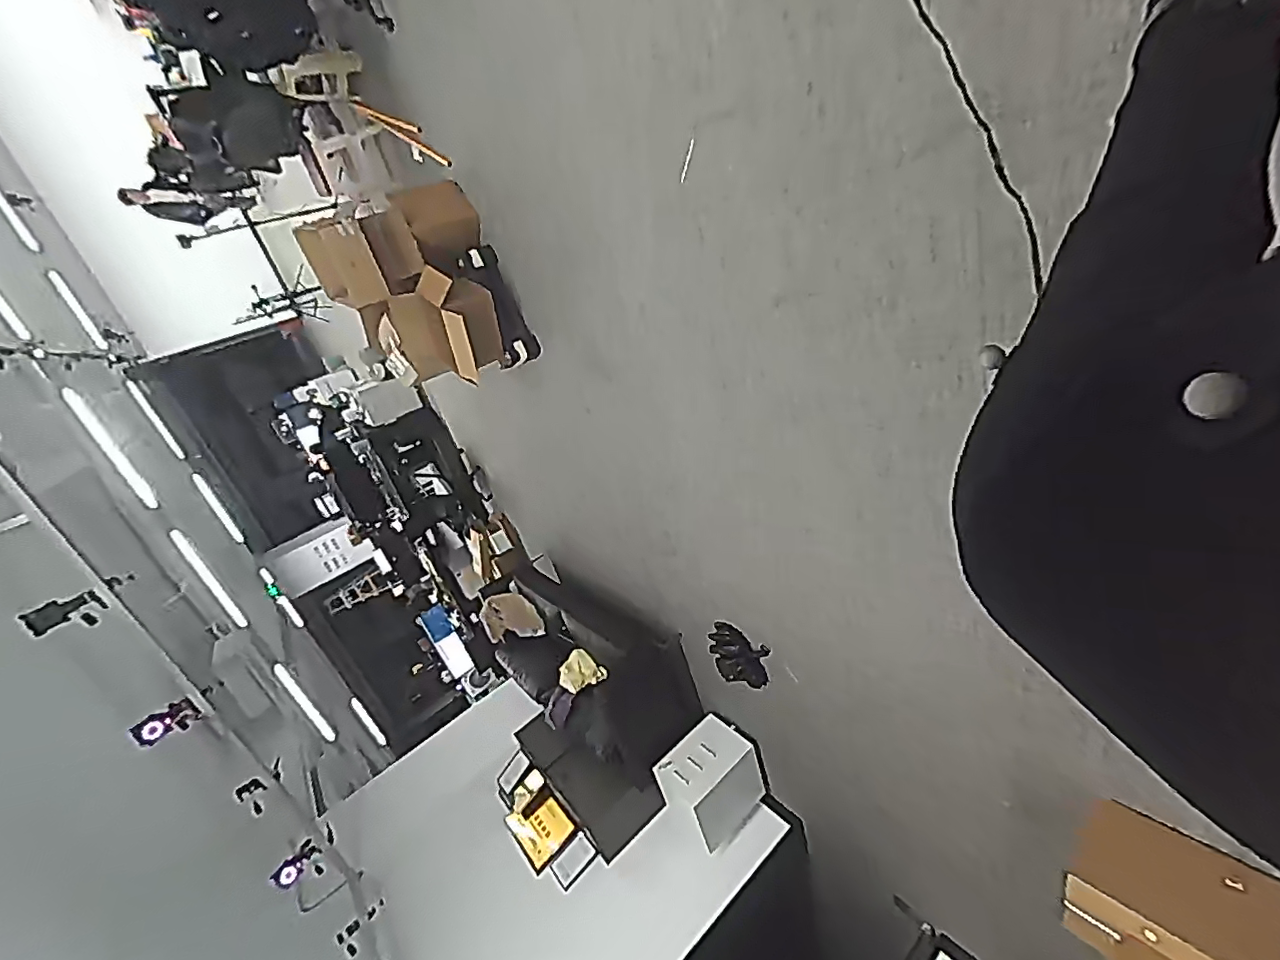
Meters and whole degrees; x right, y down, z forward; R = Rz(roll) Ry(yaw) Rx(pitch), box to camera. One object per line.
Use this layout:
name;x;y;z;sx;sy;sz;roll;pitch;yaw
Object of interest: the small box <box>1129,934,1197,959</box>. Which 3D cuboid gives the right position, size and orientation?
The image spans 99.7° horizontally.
small box;1.398;1.349;1.415;0.179;0.176;0.168;15;125;54
